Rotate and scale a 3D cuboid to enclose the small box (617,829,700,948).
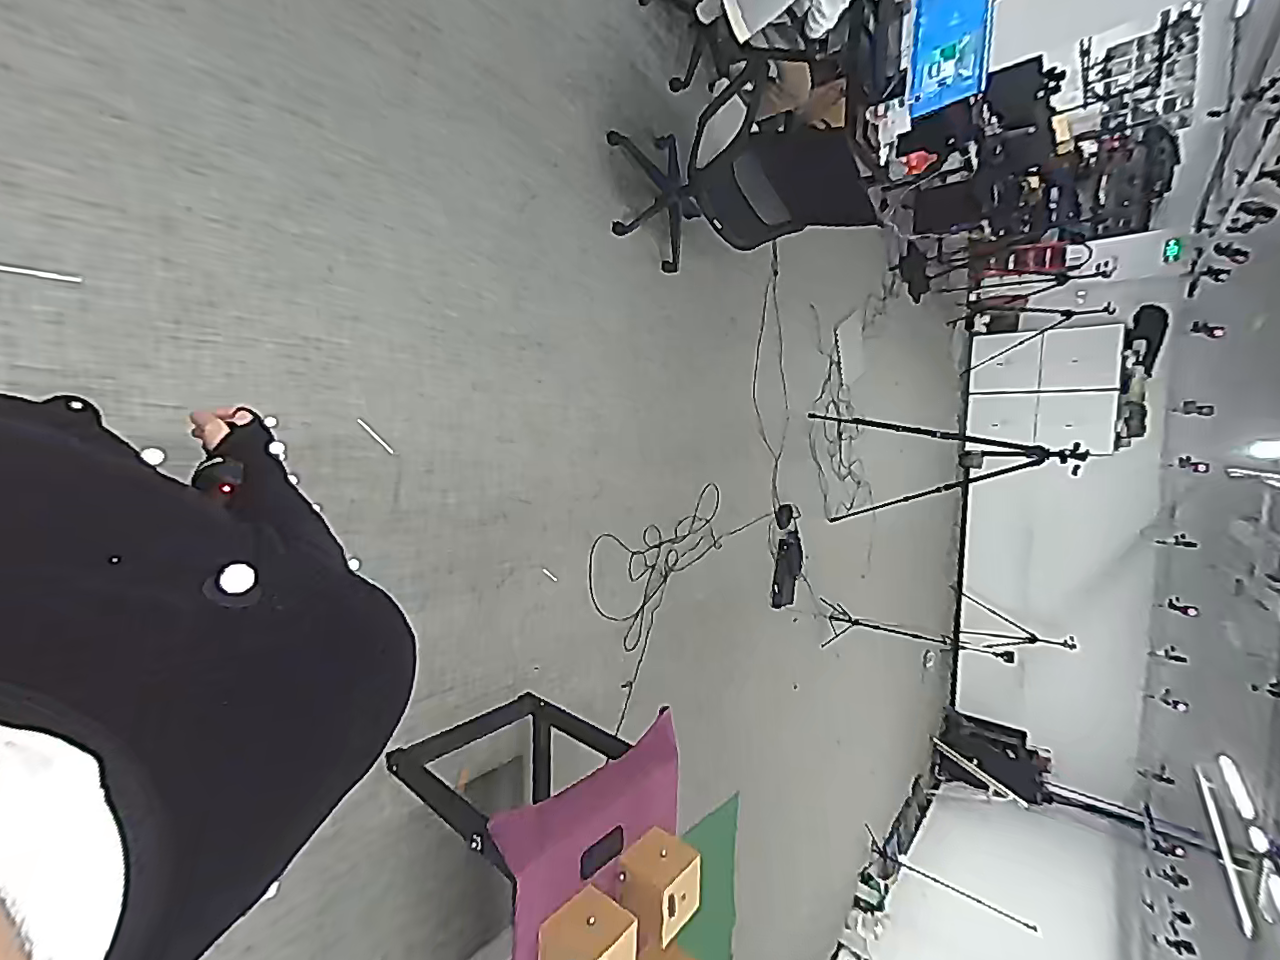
[{"bbox_3d":[0.050,1.131,1.513,0.179,0.176,0.168,-5,98,-50],"label":"small box"}]
